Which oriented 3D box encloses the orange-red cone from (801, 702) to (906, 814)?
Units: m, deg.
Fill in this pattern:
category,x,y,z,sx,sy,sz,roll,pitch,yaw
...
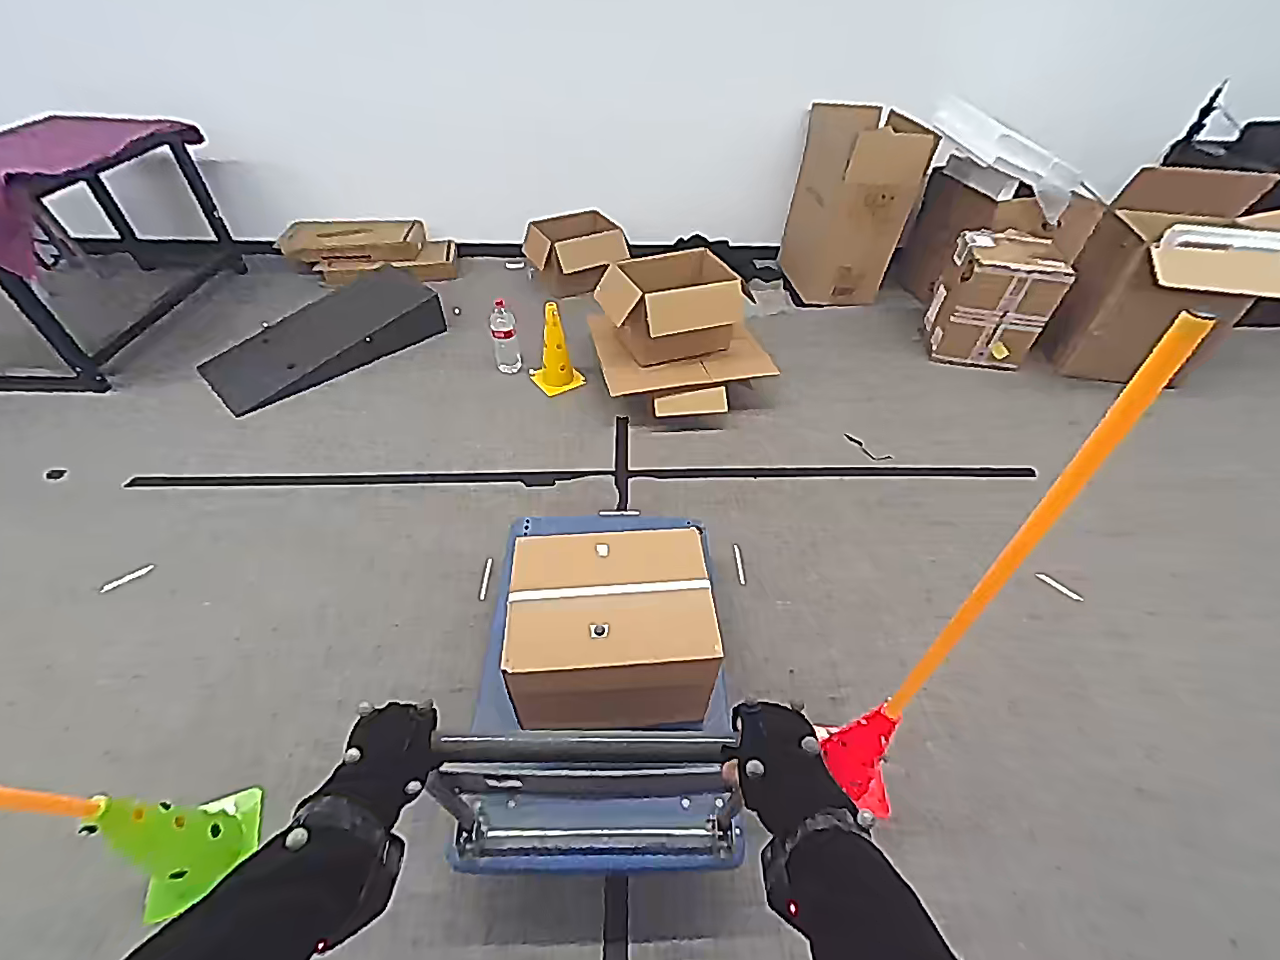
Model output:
category,x,y,z,sx,sy,sz,roll,pitch,yaw
orange-red cone,0.504,0.578,1.194,0.199,0.360,0.198,5,46,2
